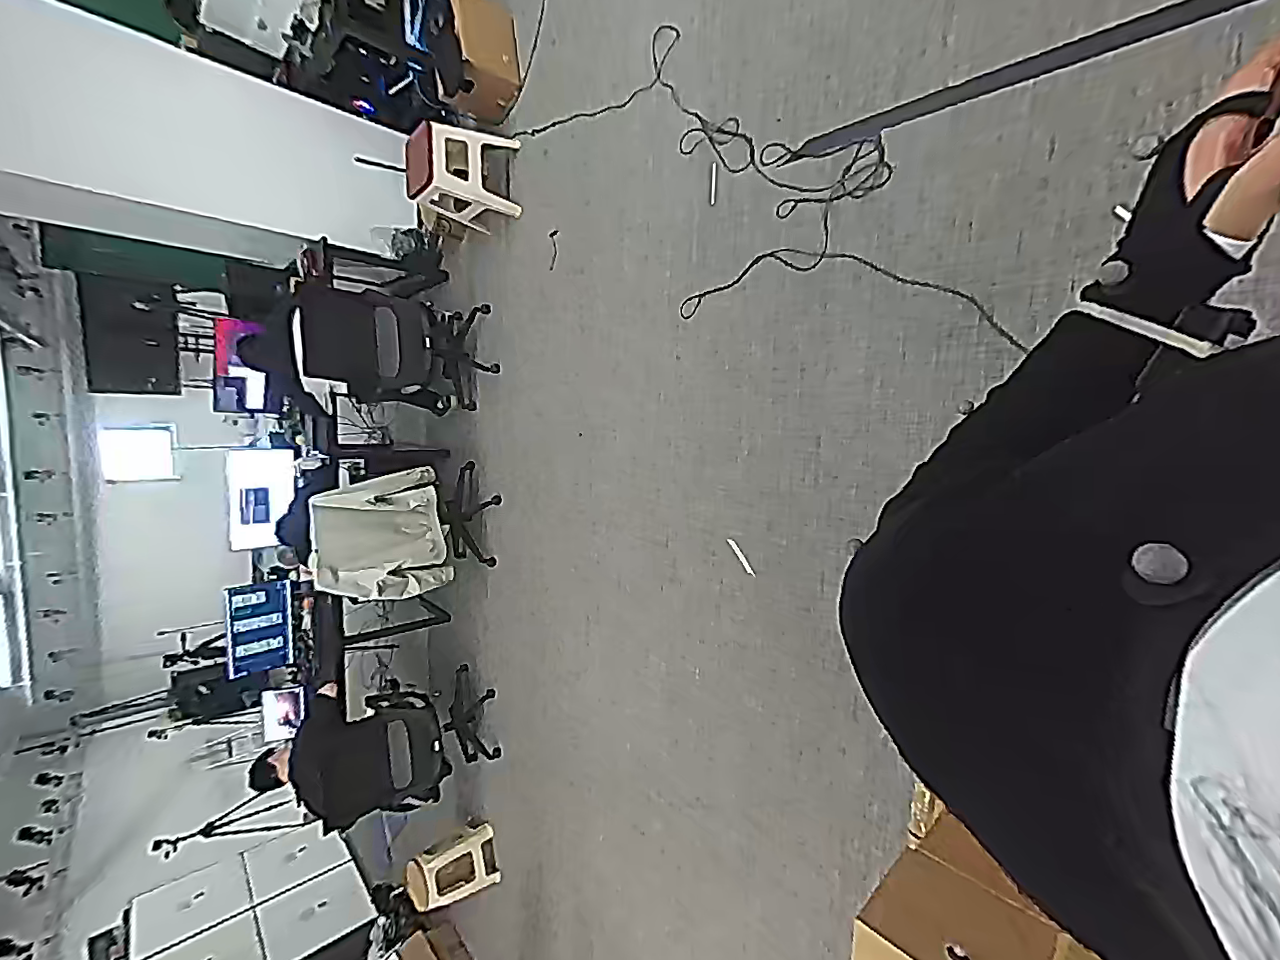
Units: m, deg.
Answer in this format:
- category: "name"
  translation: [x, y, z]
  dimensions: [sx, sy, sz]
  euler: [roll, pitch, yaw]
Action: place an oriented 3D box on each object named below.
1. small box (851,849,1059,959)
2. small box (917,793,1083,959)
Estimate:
- category: "small box"
  translation: [0.369, 0.592, 0.641]
  dimensions: [0.179, 0.176, 0.168]
  euler: [10, 100, 46]
- category: "small box"
  translation: [0.492, 0.586, 0.752]
  dimensions: [0.168, 0.176, 0.179]
  euler: [10, 98, 45]
